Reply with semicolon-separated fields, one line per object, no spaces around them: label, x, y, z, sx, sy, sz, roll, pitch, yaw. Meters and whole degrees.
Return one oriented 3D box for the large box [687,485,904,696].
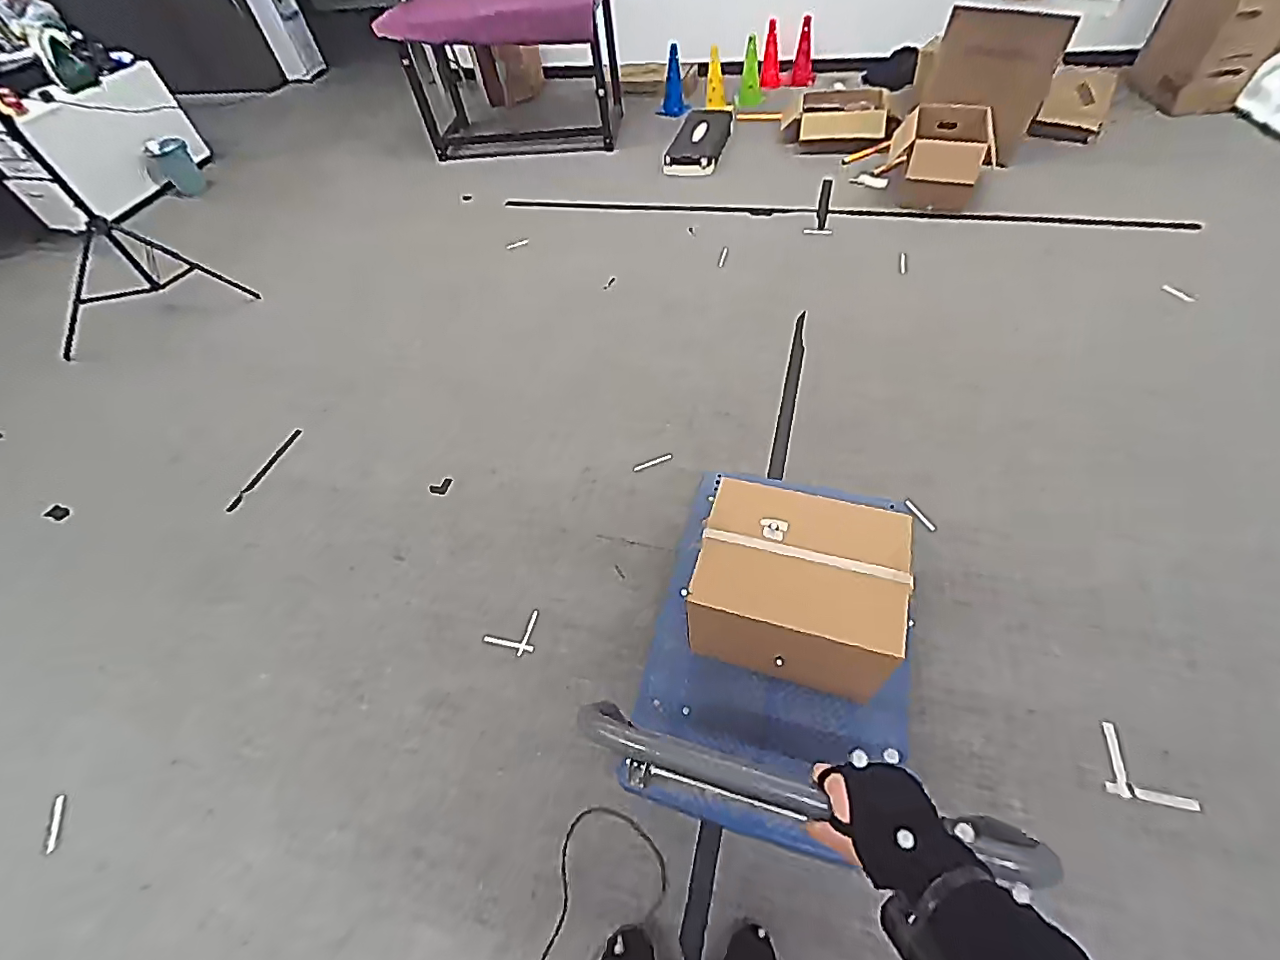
large box;0.344;0.250;1.225;0.408;0.320;0.320;11;55;16
